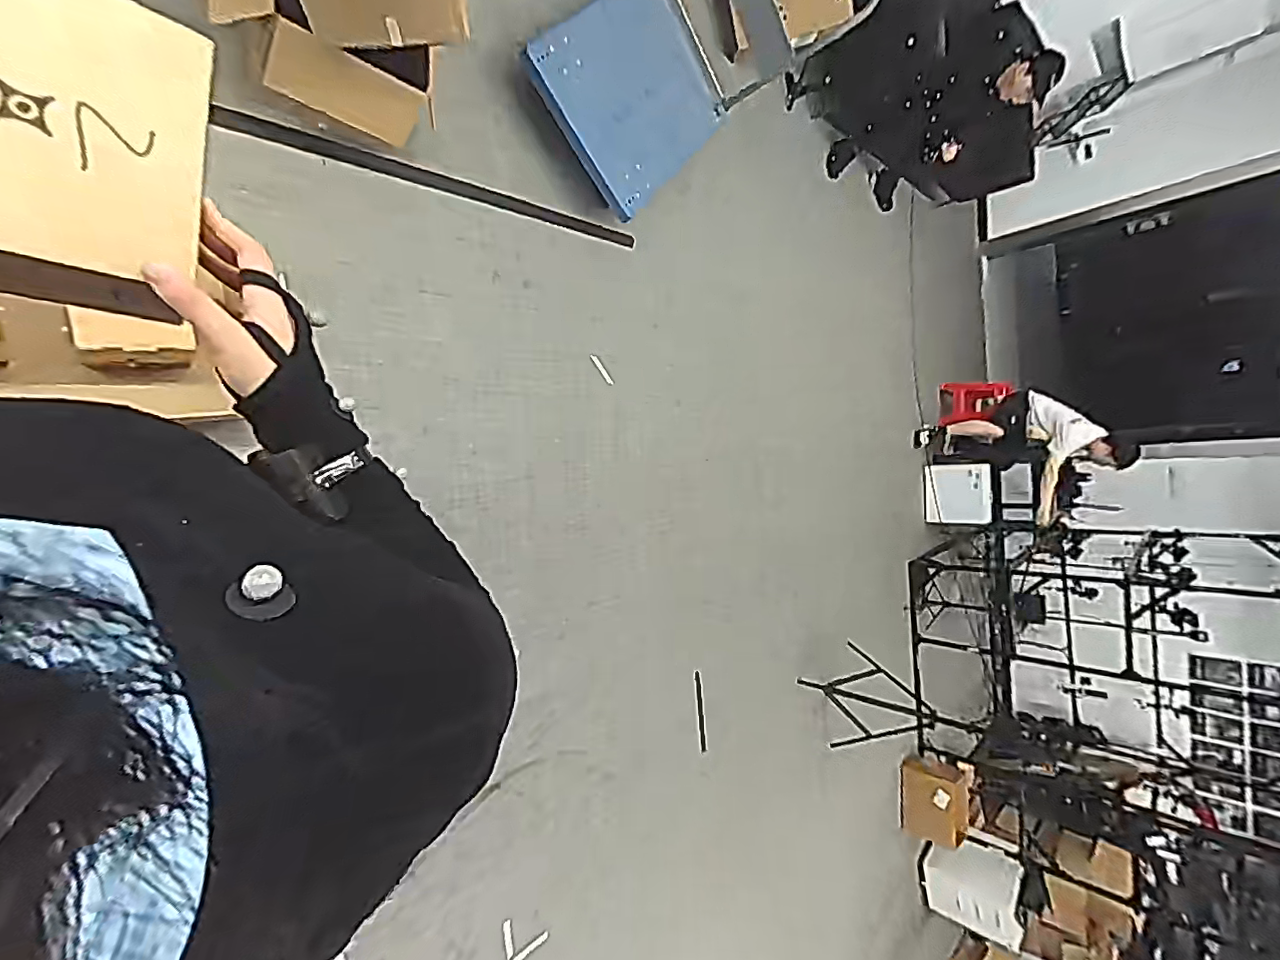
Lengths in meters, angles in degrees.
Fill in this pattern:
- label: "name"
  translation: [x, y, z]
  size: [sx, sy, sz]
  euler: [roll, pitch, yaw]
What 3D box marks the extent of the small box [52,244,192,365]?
- label: "small box"
  translation: [-0.983, -0.324, 1.032]
  size: [0.168, 0.176, 0.179]
  euler: [-13, 98, -43]
